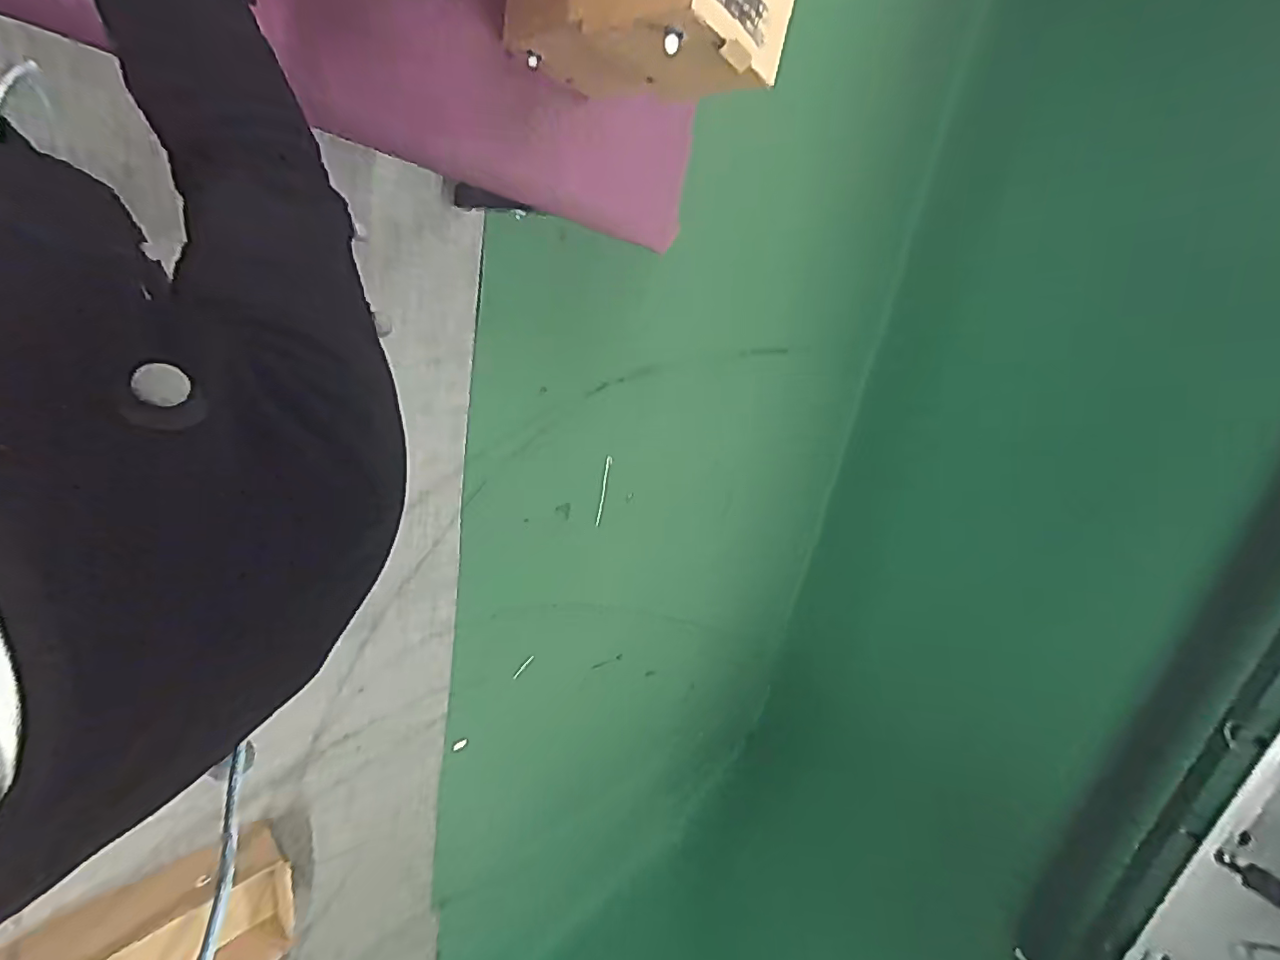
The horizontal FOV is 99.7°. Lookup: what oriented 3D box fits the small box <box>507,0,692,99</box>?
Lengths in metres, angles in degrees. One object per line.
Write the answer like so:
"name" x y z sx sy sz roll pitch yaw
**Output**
"small box" -0.051 -0.631 0.706 0.168 0.176 0.179 -4 113 -51
